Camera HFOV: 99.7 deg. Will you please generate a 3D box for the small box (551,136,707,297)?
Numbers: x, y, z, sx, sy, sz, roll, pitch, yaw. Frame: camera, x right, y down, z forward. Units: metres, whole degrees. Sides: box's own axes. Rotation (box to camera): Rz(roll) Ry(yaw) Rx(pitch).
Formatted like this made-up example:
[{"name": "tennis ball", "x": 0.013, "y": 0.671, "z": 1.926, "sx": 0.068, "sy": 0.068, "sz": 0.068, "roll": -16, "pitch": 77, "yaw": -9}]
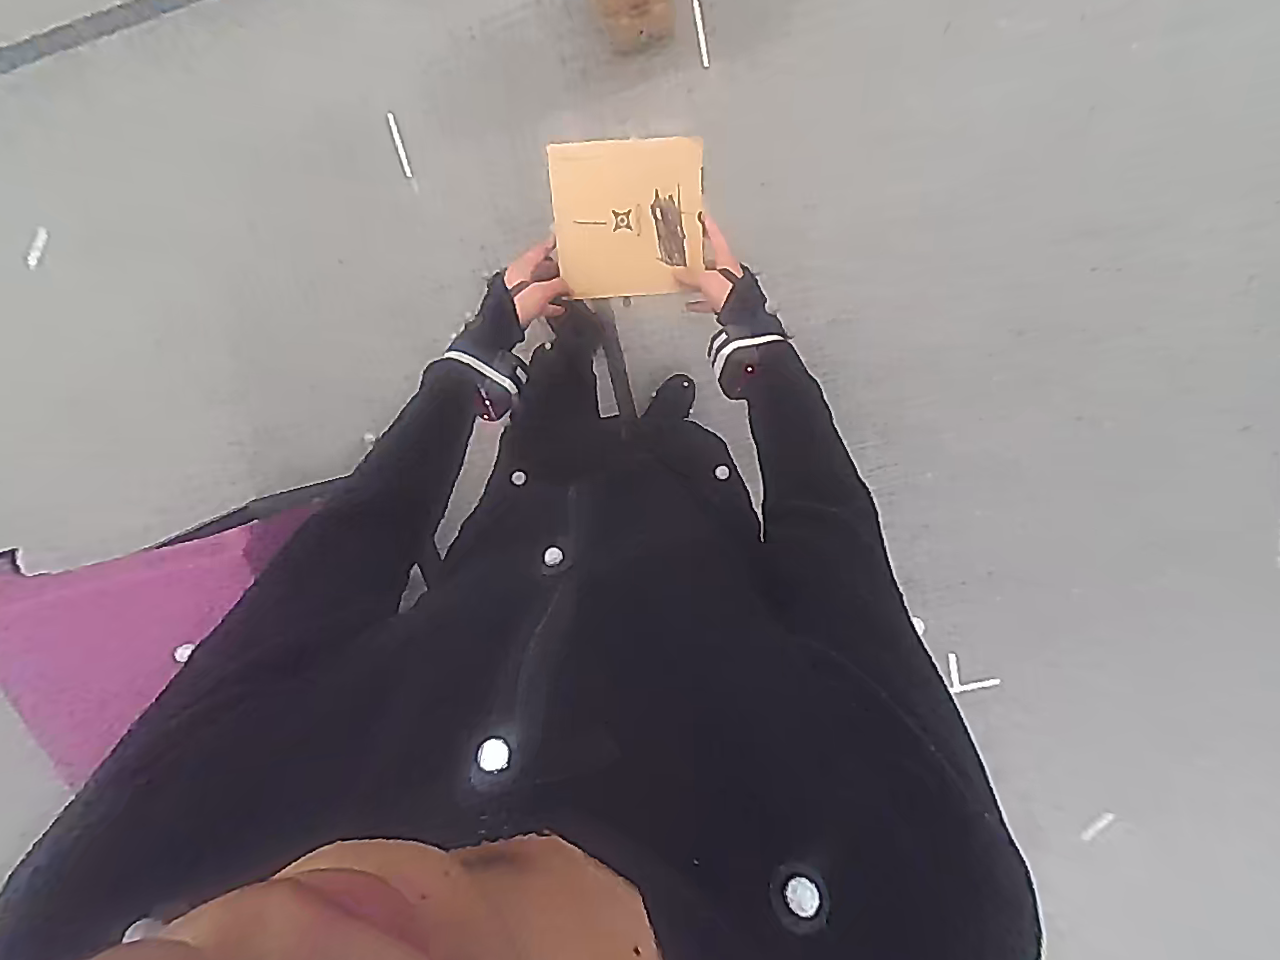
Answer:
[{"name": "small box", "x": -0.013, "y": -0.329, "z": 0.698, "sx": 0.179, "sy": 0.176, "sz": 0.168, "roll": -3, "pitch": 110, "yaw": 0}]
